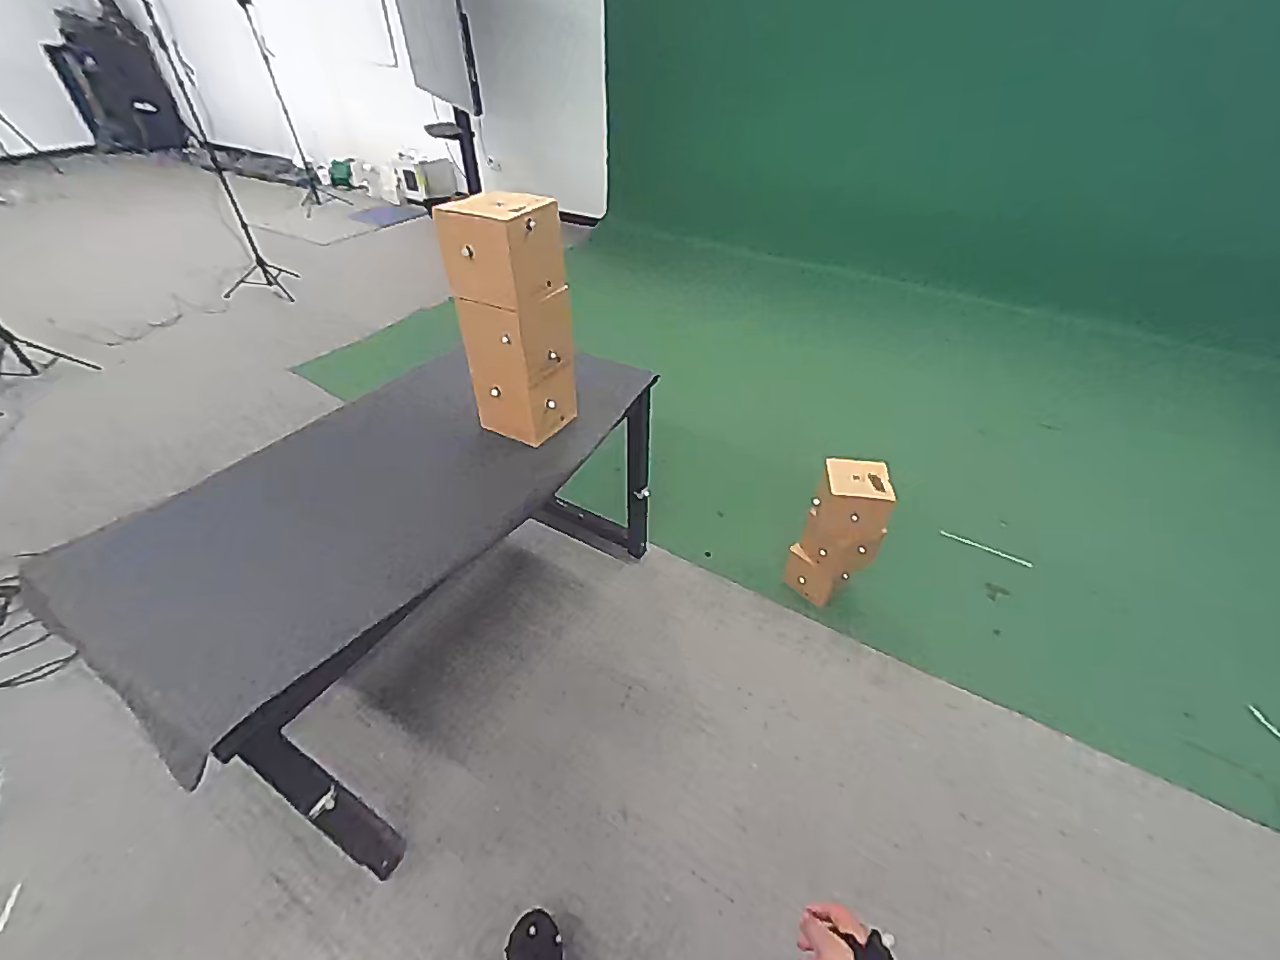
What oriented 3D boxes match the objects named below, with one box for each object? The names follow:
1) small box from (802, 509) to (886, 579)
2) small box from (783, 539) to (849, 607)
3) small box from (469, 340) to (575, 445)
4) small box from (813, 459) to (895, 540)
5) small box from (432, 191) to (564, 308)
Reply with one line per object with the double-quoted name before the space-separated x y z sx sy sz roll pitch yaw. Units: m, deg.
"small box" 0.633 0.187 1.711 0.179 0.176 0.168 -13 45 -17
"small box" 0.606 0.295 1.833 0.179 0.176 0.168 -30 50 -31
"small box" -0.269 -0.205 1.277 0.179 0.176 0.168 21 45 23
"small box" 0.628 0.060 1.606 0.179 0.176 0.168 6 42 6
"small box" -0.270 -0.453 1.062 0.179 0.176 0.168 18 44 21
